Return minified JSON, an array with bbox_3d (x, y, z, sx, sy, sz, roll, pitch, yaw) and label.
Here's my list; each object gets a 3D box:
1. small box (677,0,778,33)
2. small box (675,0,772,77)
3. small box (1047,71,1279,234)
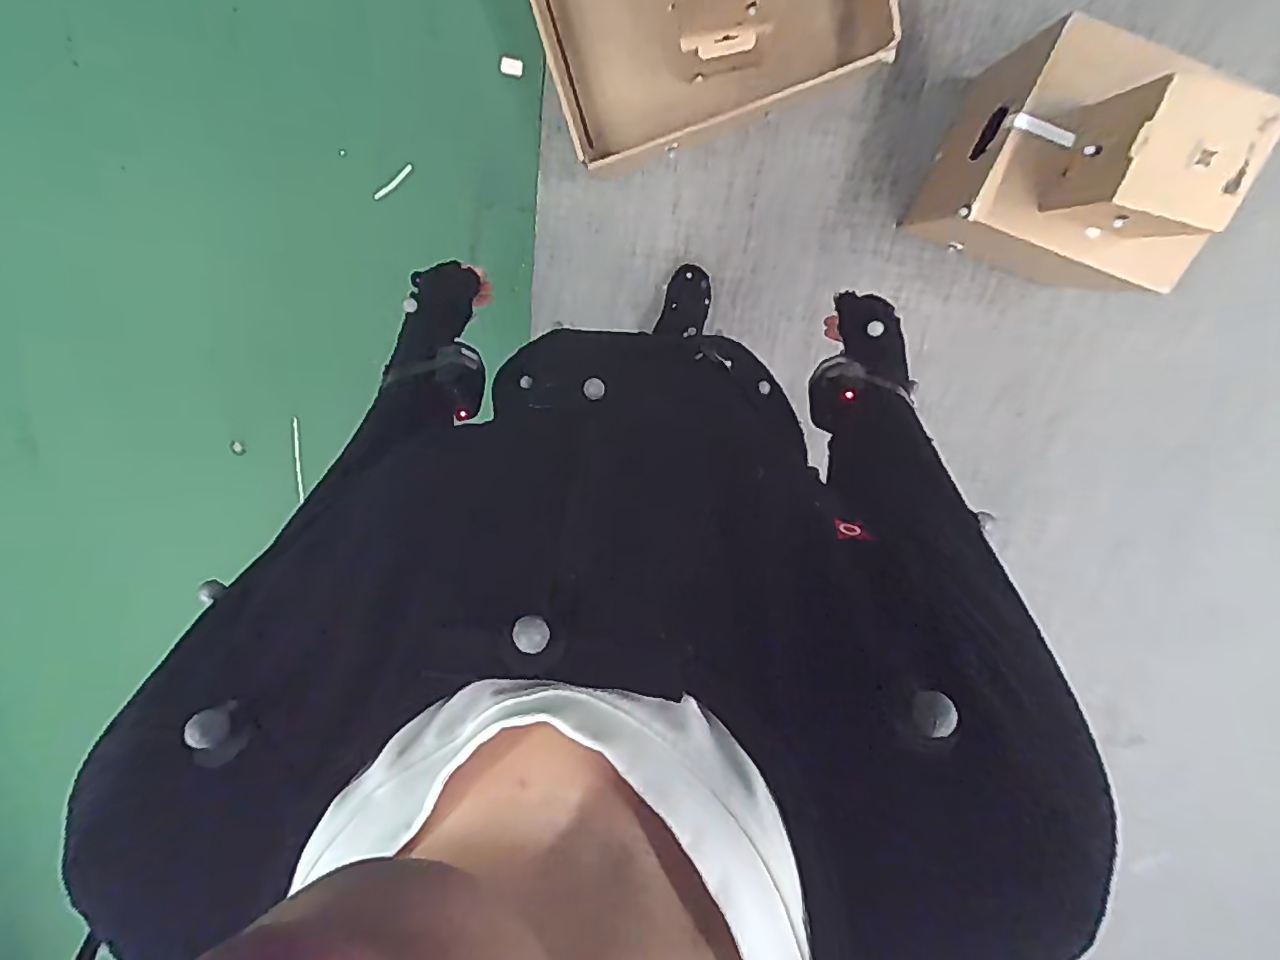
[{"bbox_3d":[0.139,-0.846,0.854,0.168,0.176,0.179,-4,108,6],"label":"small box"},{"bbox_3d":[0.151,-0.889,1.010,0.168,0.176,0.179,-7,108,9],"label":"small box"},{"bbox_3d":[0.786,-0.485,0.830,0.179,0.176,0.168,15,112,0],"label":"small box"}]
